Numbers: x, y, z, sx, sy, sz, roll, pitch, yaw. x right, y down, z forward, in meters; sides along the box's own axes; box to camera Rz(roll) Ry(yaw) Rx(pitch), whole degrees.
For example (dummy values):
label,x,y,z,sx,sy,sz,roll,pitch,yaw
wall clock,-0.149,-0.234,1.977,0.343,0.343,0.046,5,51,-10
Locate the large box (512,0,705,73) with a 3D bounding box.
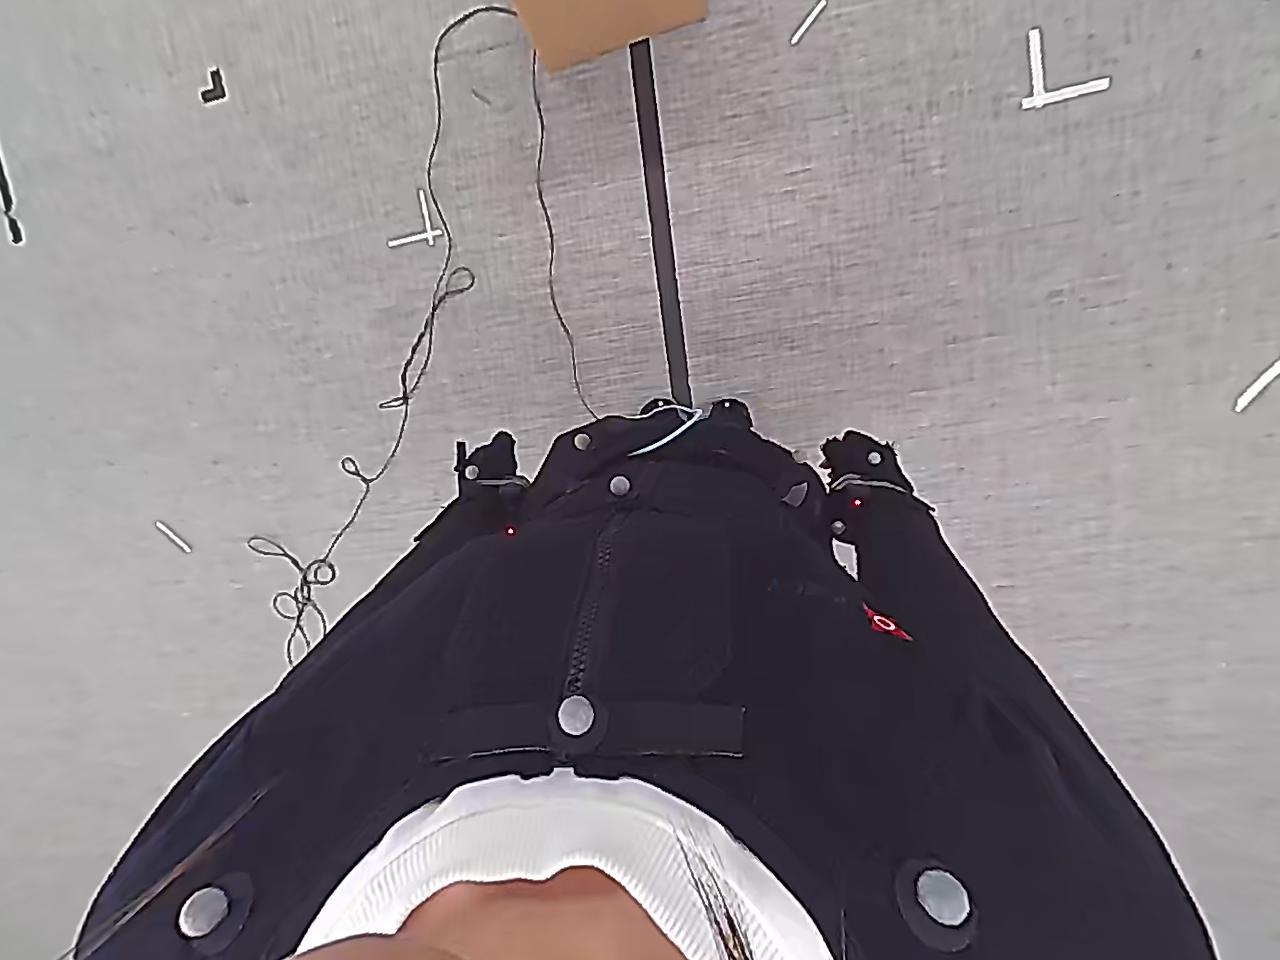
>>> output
label,x,y,z,sx,sy,sz,roll,pitch,yaw
large box,-0.093,-1.155,1.124,0.408,0.320,0.320,-13,99,8
